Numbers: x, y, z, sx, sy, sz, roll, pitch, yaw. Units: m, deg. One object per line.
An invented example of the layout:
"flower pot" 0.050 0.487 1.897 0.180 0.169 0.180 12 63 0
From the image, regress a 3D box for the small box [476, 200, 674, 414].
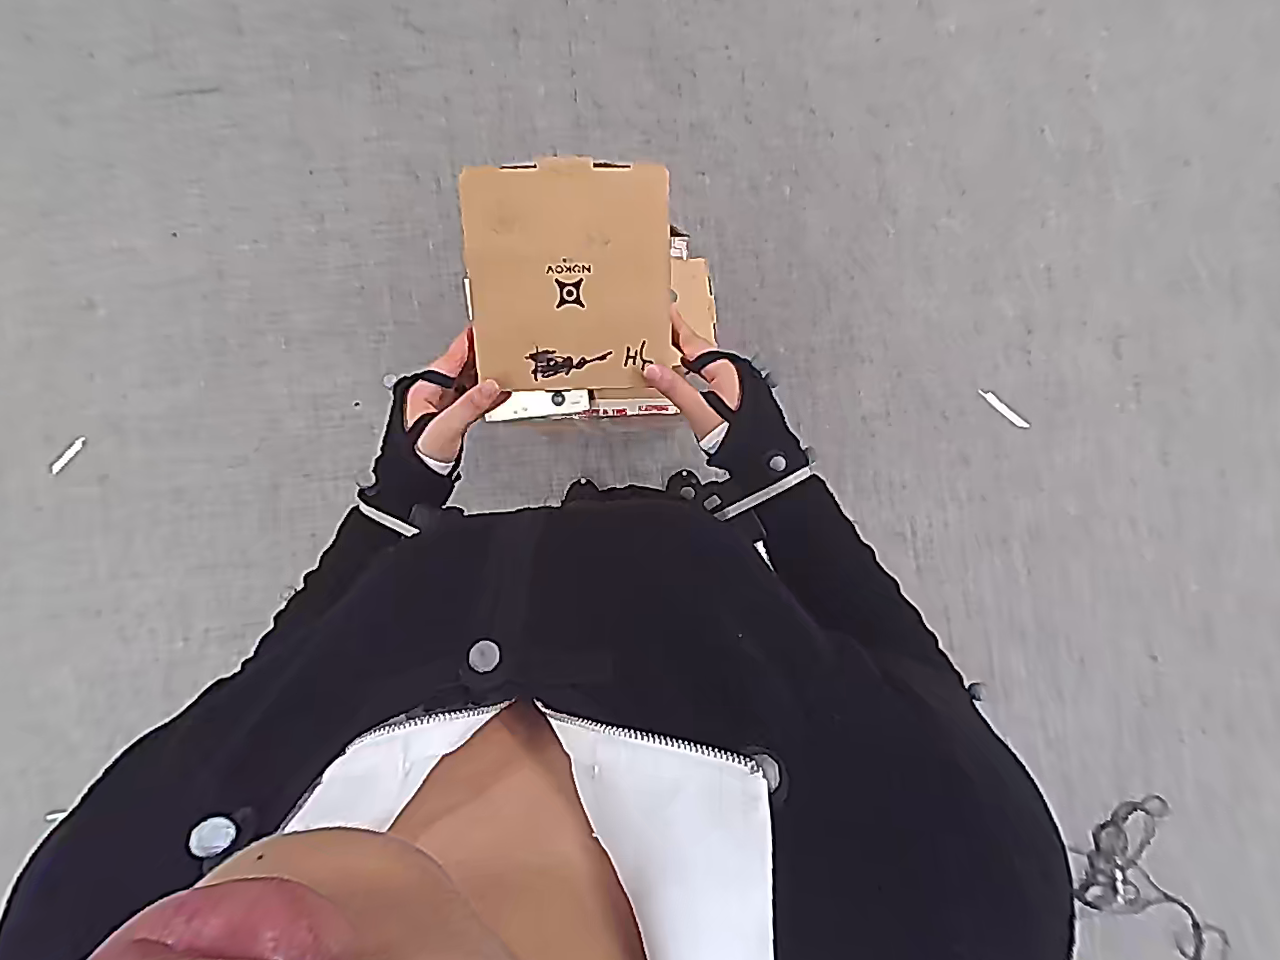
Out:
"small box" -0.057 -0.159 0.538 0.168 0.176 0.179 -2 102 -2

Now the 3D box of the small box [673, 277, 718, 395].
"small box" 0.029 -0.239 0.947 0.179 0.176 0.168 -7 92 0
